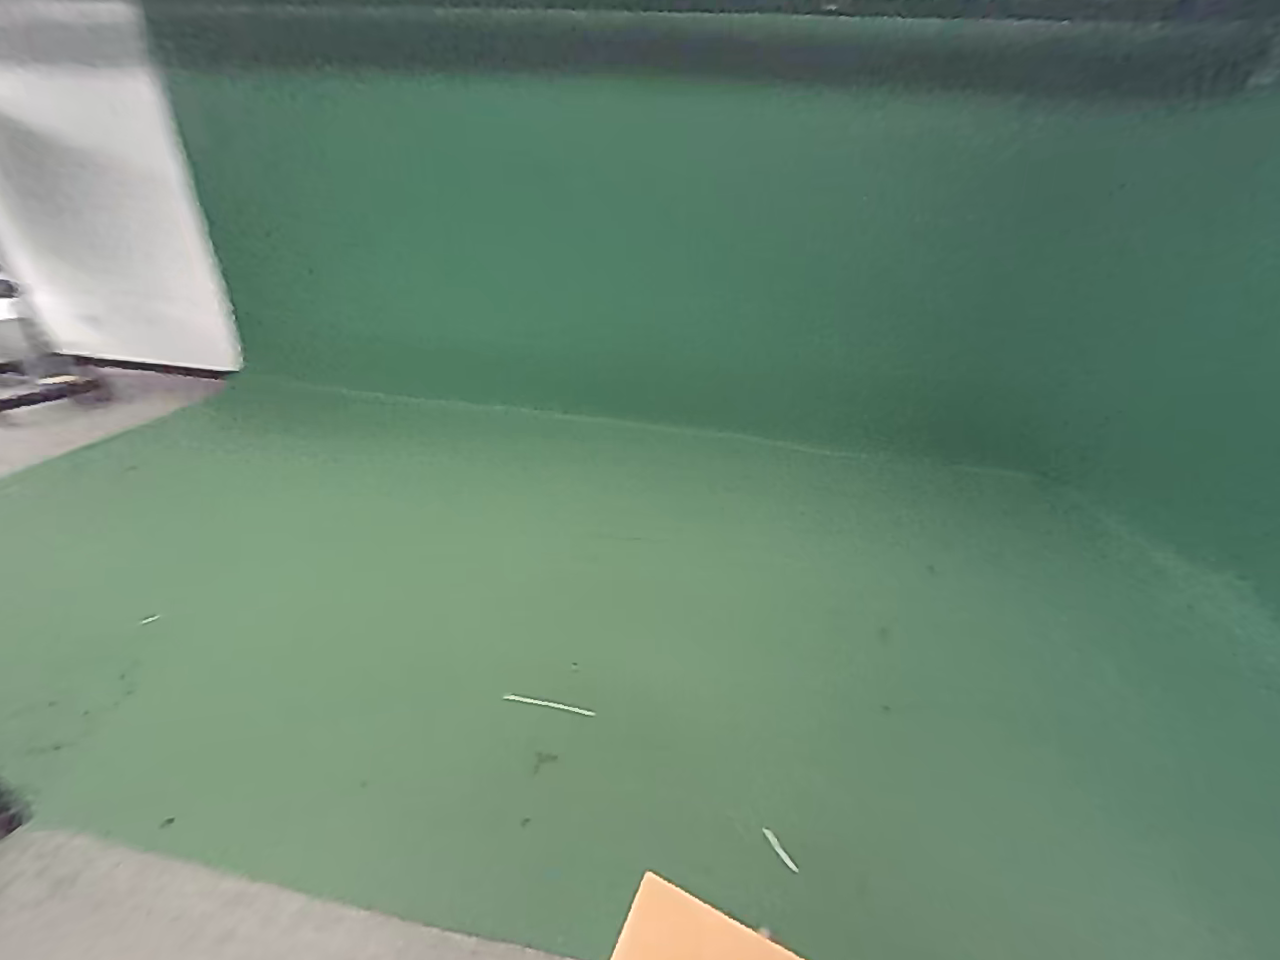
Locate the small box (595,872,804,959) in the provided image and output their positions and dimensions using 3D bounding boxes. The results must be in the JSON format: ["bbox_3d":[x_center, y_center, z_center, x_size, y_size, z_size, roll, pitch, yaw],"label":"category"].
[{"bbox_3d":[0.037,0.428,0.373,0.179,0.176,0.168,16,38,19],"label":"small box"}]
